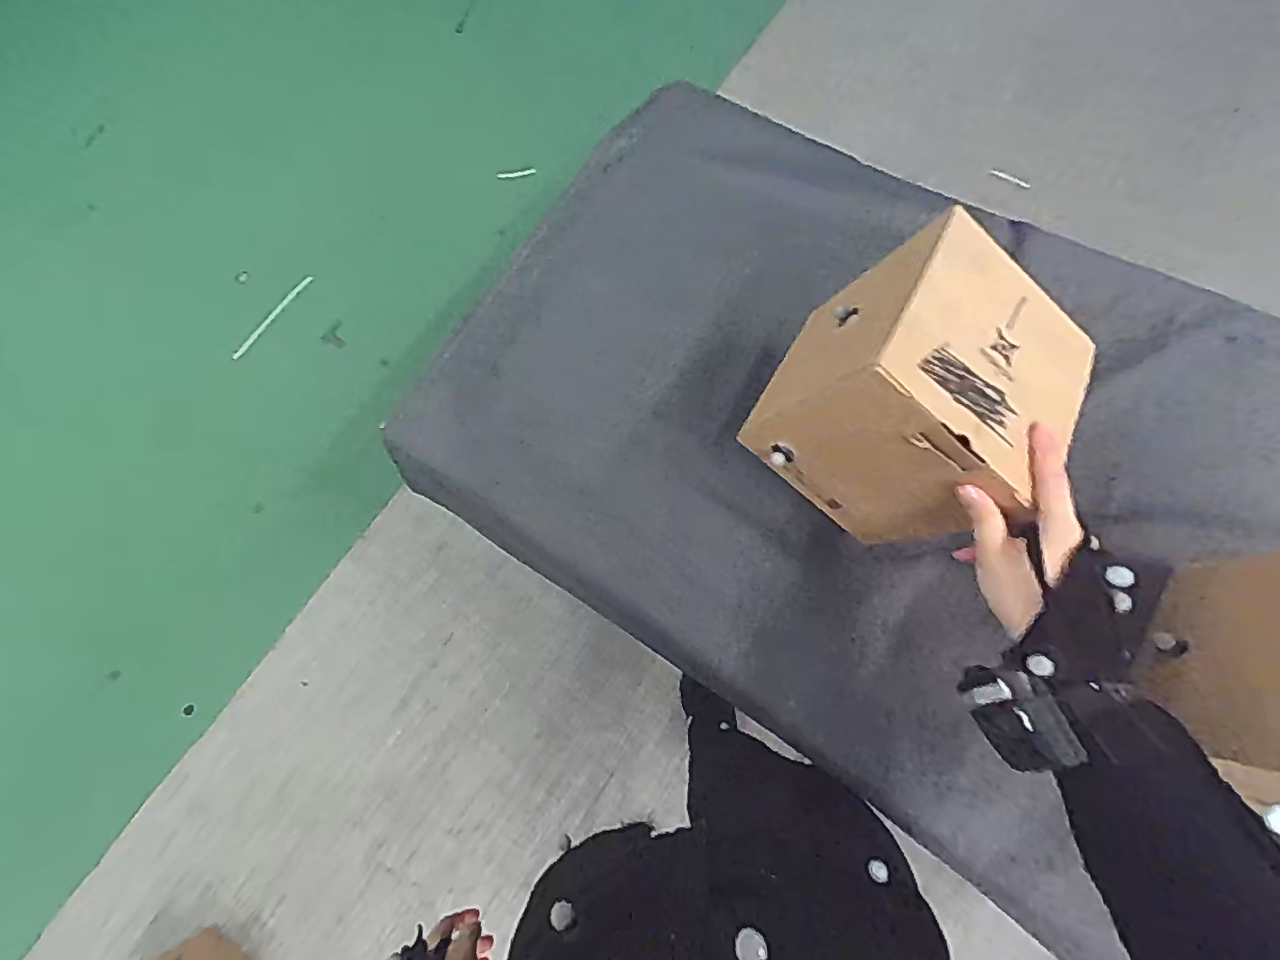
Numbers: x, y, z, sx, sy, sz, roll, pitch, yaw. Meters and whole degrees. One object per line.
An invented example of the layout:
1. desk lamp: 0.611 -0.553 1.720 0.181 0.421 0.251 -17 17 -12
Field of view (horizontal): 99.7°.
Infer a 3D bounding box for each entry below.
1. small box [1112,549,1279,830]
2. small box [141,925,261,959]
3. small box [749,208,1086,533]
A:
1. small box: 0.515 0.169 0.403 0.168 0.176 0.179 31 79 12
2. small box: -0.874 1.007 1.032 0.179 0.176 0.168 28 78 12
3. small box: 0.219 -0.073 0.456 0.168 0.176 0.179 38 66 -11
